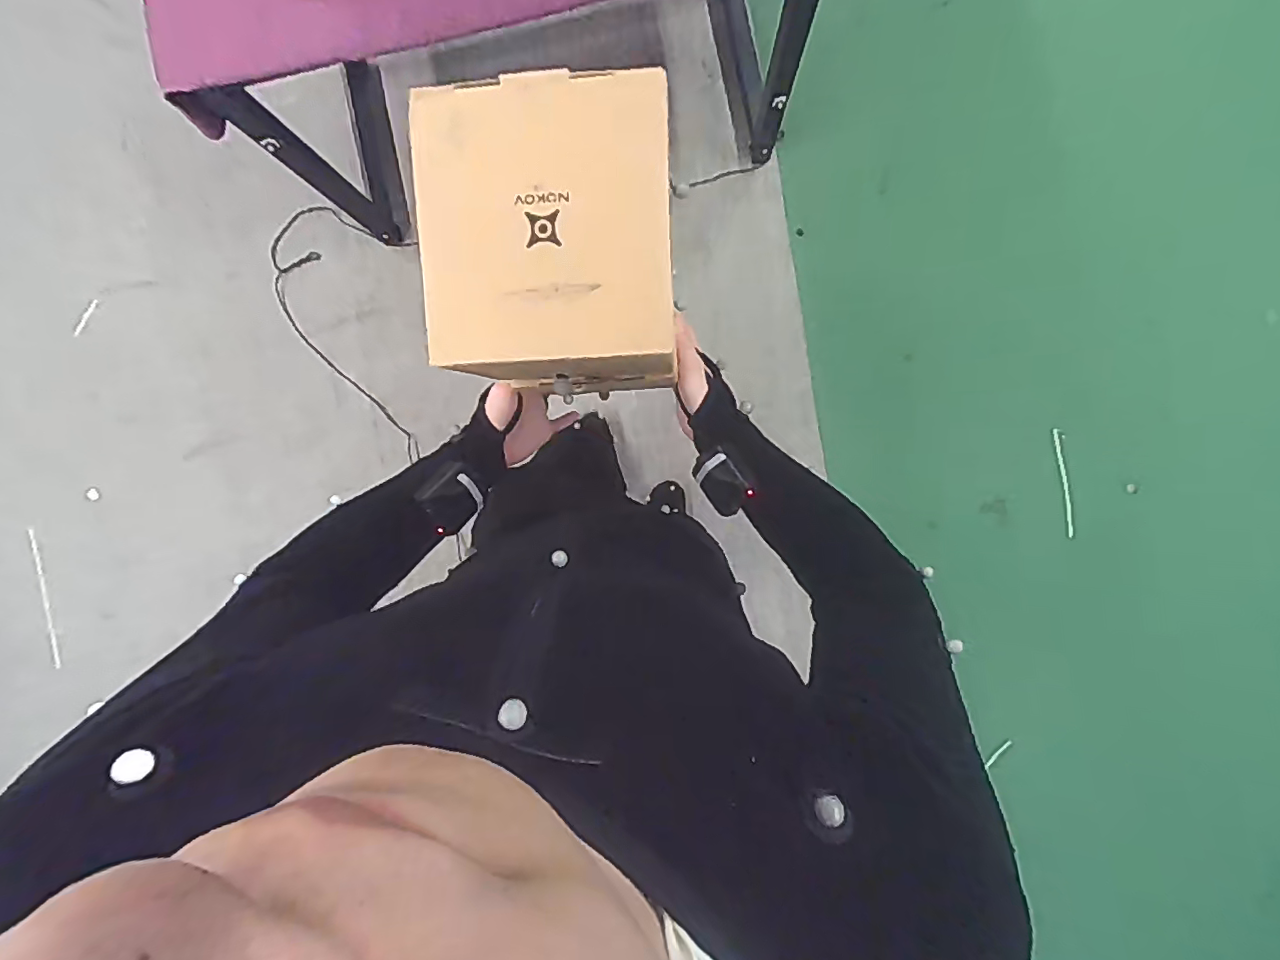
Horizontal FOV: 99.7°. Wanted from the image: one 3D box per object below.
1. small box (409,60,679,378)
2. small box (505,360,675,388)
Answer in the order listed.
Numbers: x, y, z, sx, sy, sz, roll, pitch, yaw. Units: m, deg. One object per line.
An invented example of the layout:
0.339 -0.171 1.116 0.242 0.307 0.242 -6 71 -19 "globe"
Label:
-0.056 -0.174 0.416 0.168 0.176 0.179 -1 97 3 "small box"
-0.047 -0.190 0.578 0.168 0.176 0.179 -3 96 3 "small box"
